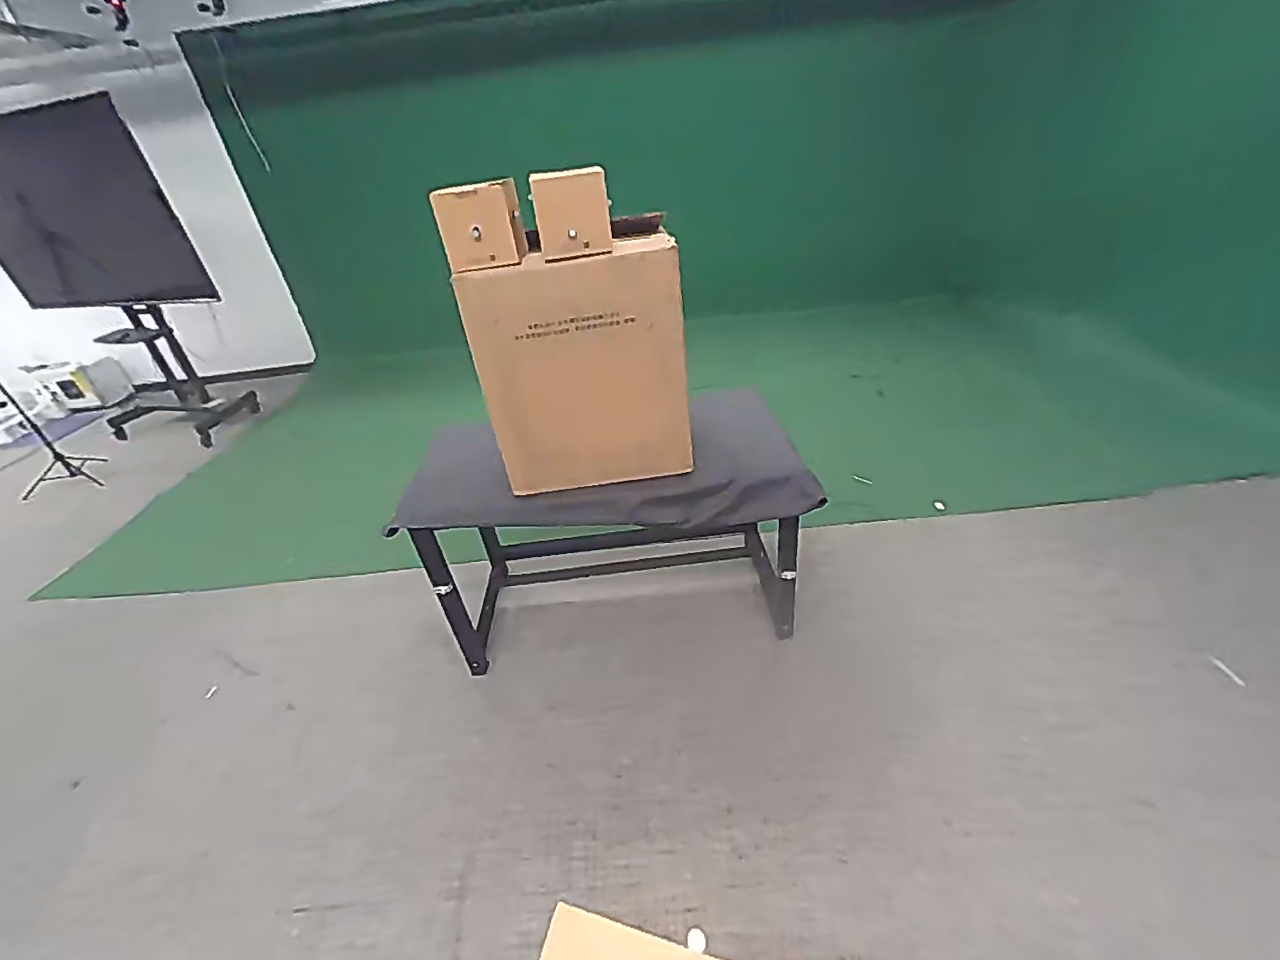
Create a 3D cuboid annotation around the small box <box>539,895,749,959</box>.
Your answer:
[{"bbox_3d":[0.004,0.462,0.416,0.168,0.176,0.179,3,46,19],"label":"small box"}]

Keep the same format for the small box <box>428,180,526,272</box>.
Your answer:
[{"bbox_3d":[-0.380,-0.607,1.299,0.168,0.176,0.179,-8,33,1],"label":"small box"}]
